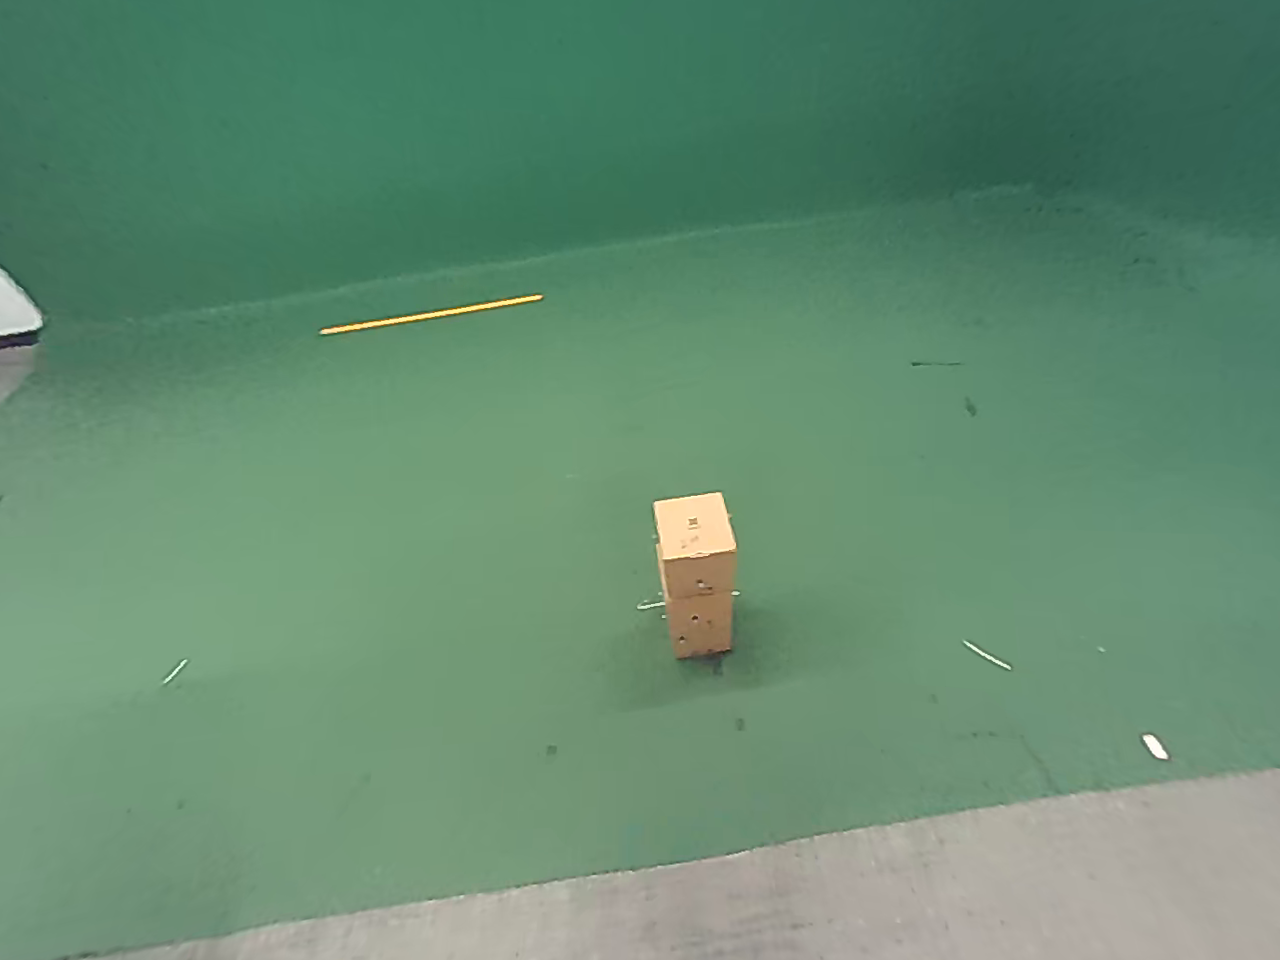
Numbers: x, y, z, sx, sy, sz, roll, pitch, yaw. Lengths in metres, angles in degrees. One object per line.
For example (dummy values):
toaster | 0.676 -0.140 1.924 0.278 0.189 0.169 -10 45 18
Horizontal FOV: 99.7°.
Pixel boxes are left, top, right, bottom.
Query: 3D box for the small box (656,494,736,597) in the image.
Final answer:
small box | 0.129 0.158 1.304 0.168 0.176 0.179 -7 47 0

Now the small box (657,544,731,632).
small box | 0.137 0.275 1.421 0.168 0.176 0.179 -8 47 -1
